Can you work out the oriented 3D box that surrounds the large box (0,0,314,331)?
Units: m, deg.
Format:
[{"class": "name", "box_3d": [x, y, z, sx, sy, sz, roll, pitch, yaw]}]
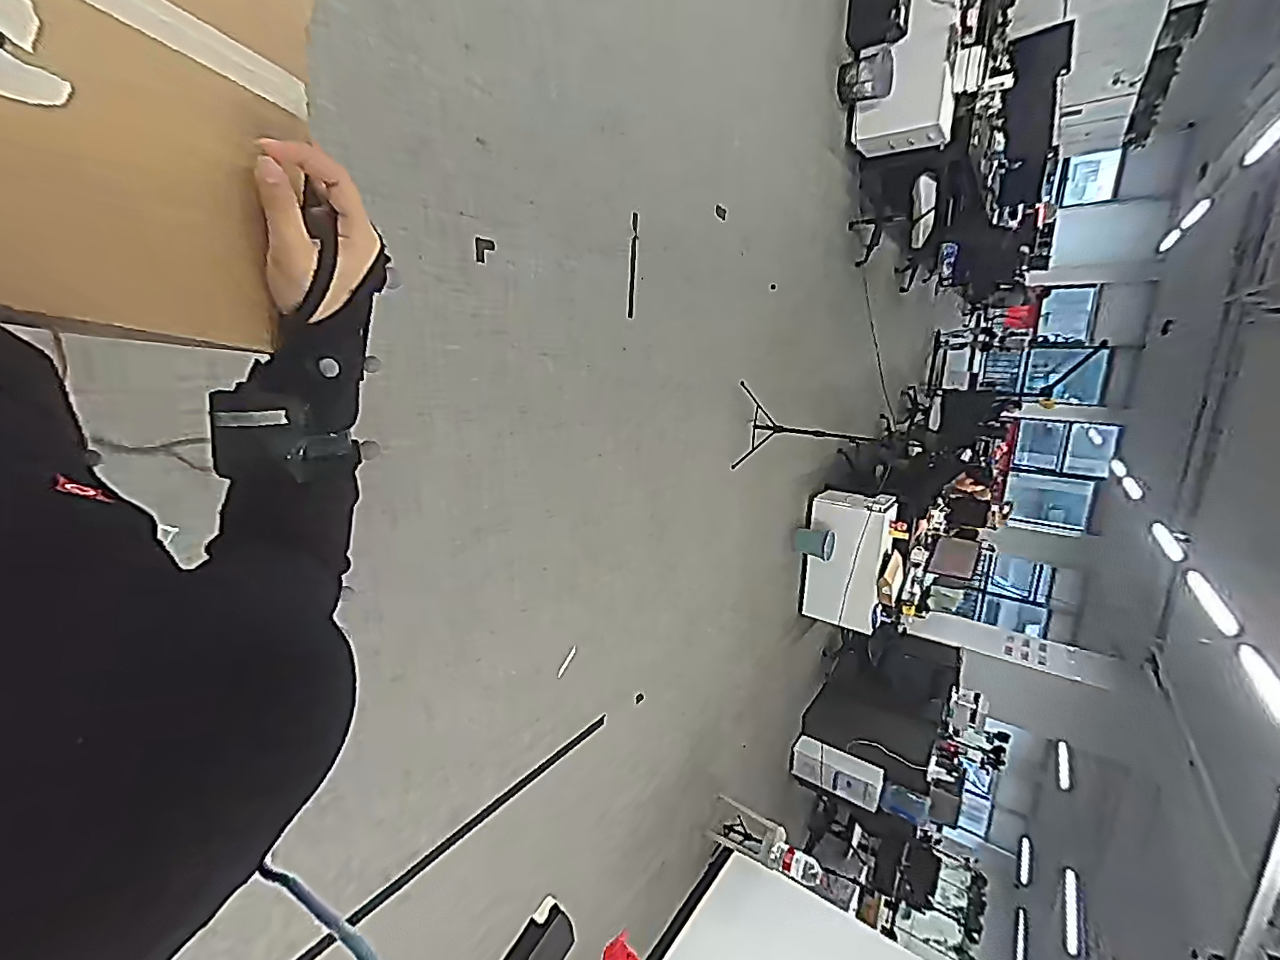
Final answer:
[{"class": "large box", "box_3d": [-0.444, -0.267, 0.249, 0.408, 0.320, 0.320, -2, 102, -61]}]
